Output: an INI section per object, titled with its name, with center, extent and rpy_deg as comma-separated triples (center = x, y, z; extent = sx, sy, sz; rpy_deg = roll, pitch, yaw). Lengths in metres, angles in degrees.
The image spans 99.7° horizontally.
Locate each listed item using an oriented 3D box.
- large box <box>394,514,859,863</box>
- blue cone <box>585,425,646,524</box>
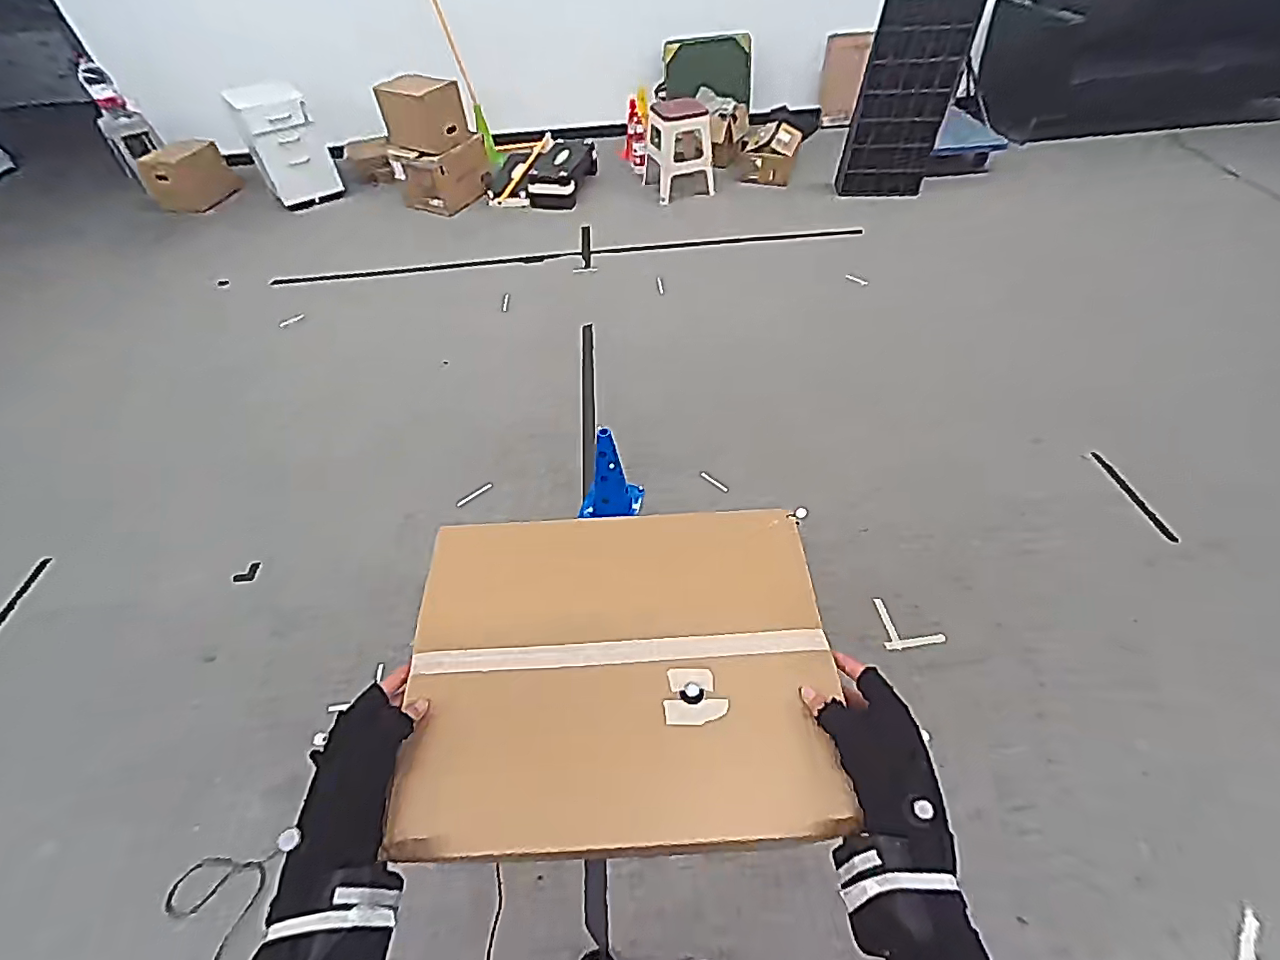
[large box]
center = -0.016, 0.263, 0.661
extent = 0.408, 0.320, 0.320
rpy_deg = -3, 54, 0
[blue cone]
center = -0.093, -0.027, 1.784
extent = 0.193, 0.380, 0.192
rpy_deg = 11, 51, 12
